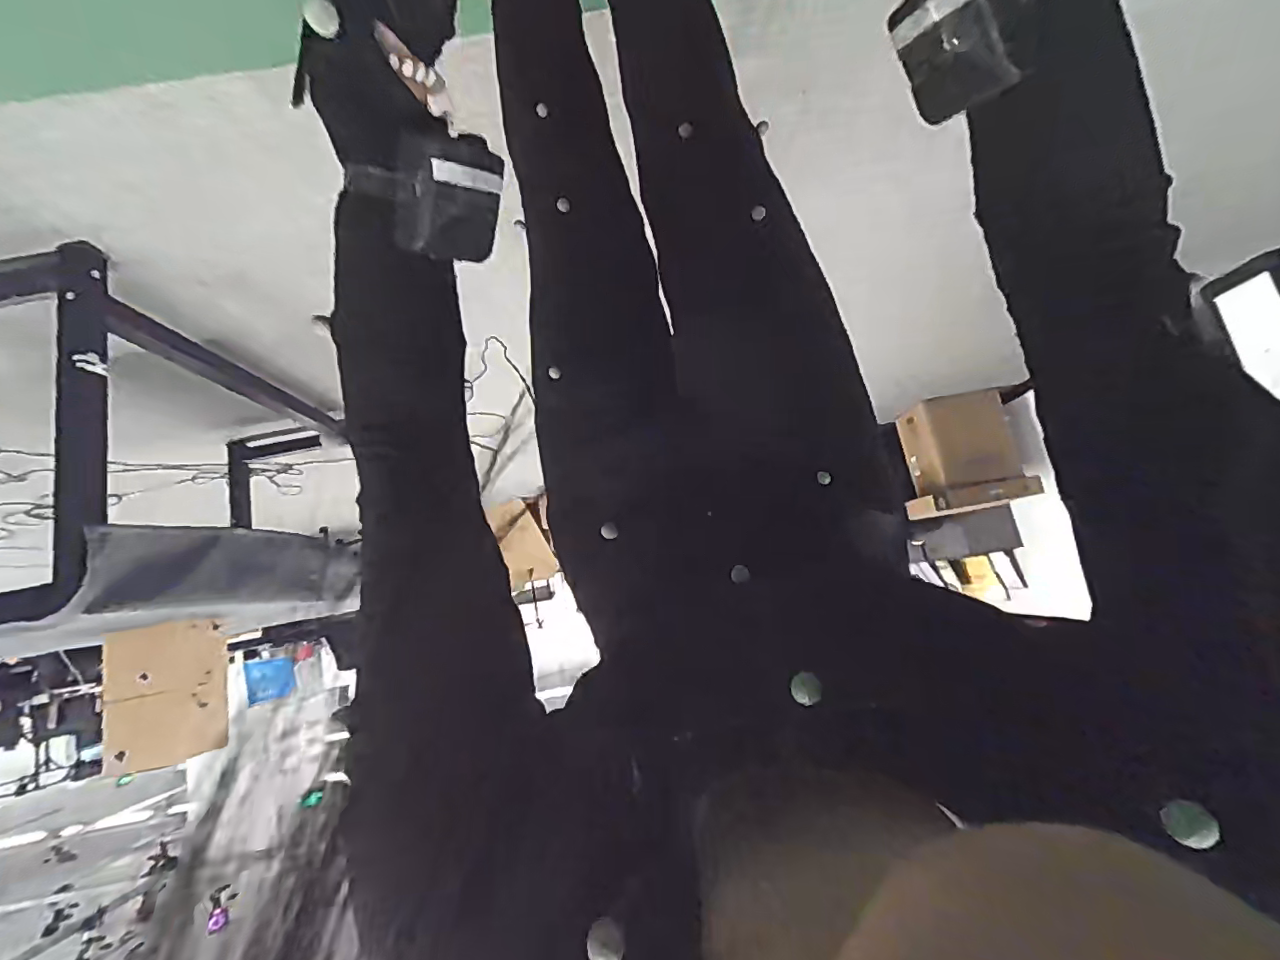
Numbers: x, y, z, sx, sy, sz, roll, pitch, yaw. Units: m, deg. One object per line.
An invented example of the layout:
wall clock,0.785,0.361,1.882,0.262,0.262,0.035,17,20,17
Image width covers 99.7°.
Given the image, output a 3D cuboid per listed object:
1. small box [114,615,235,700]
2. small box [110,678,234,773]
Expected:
small box,-1.175,0.439,1.368,0.179,0.176,0.168,-10,169,0
small box,-1.159,0.602,1.349,0.179,0.176,0.168,-12,170,2
